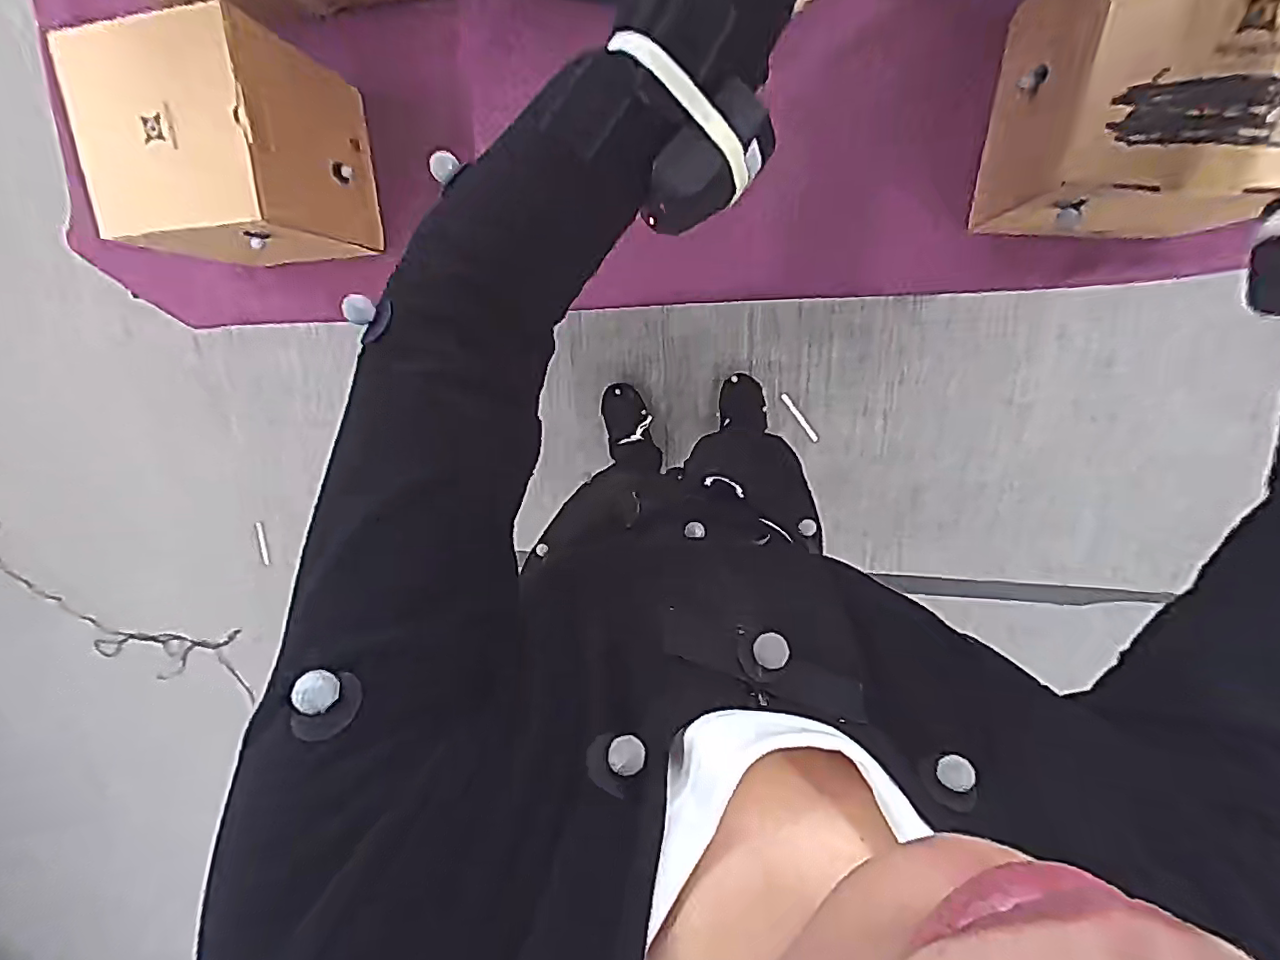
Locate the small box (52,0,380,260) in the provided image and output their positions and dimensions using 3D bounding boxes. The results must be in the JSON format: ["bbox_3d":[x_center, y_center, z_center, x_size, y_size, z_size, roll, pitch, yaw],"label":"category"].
[{"bbox_3d":[-0.397,-0.323,0.538,0.179,0.176,0.168,-2,104,10],"label":"small box"}]
